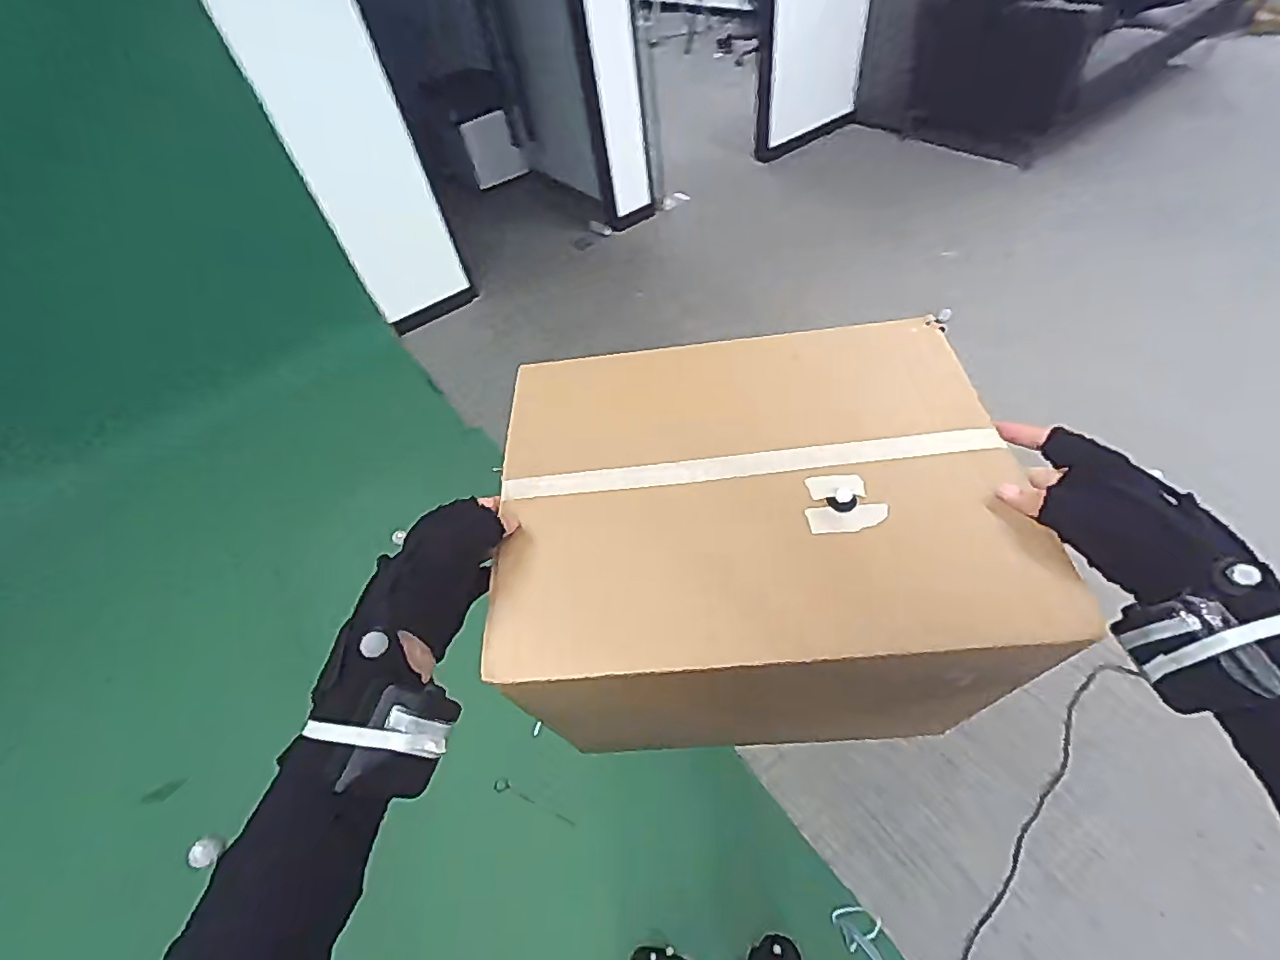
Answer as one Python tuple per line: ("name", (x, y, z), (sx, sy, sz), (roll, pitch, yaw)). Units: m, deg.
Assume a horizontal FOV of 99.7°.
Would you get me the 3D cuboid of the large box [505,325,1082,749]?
("large box", (0.109, 0.080, 0.576), (0.408, 0.320, 0.320), (-6, 55, 5))
